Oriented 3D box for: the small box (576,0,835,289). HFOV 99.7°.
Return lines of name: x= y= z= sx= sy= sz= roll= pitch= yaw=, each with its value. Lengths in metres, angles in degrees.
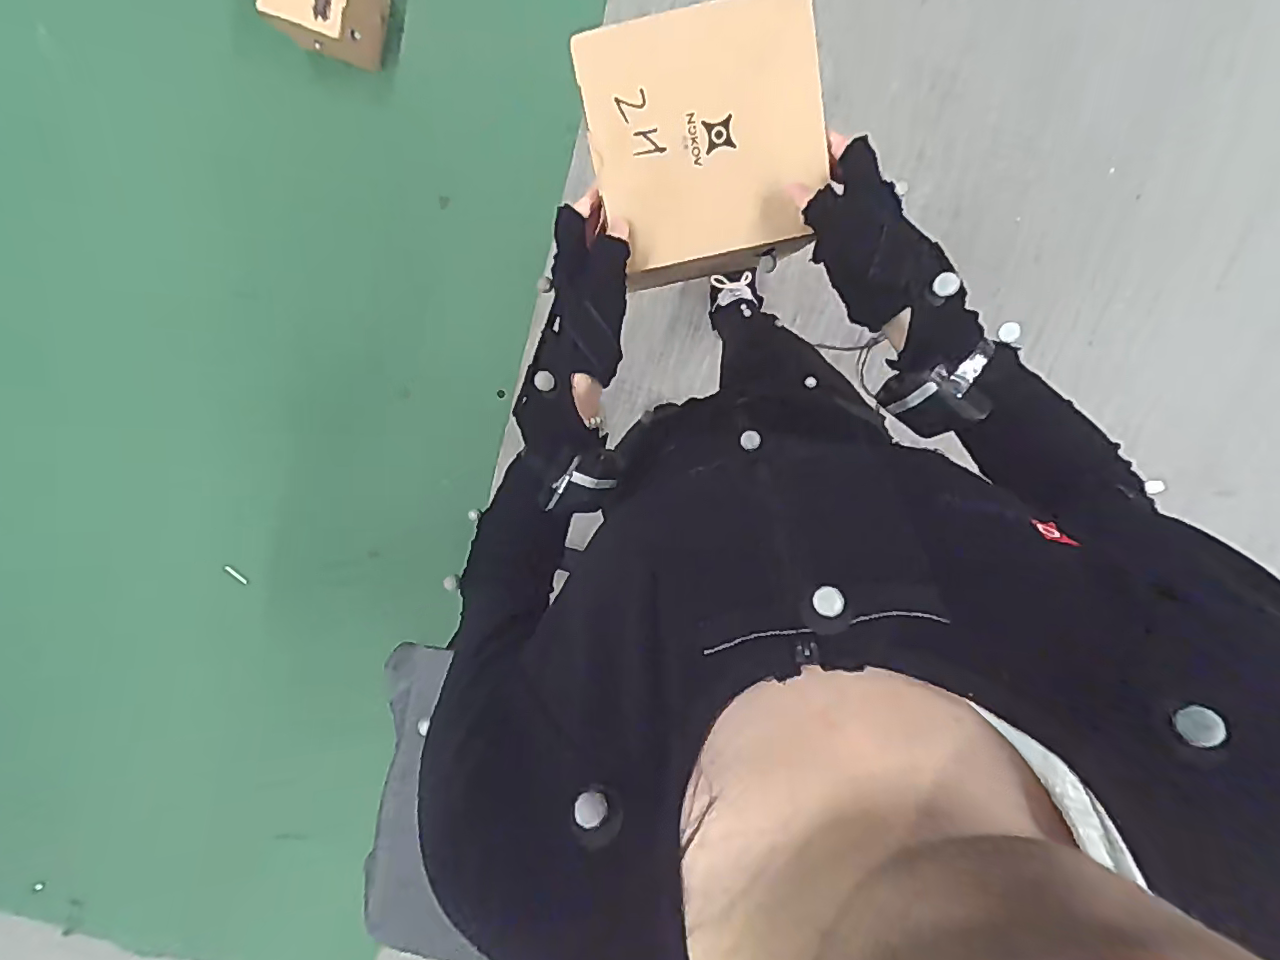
small box: x=0.051 y=-0.275 z=0.479 sx=0.179 sy=0.176 sz=0.168 roll=-11 pitch=104 yaw=3
